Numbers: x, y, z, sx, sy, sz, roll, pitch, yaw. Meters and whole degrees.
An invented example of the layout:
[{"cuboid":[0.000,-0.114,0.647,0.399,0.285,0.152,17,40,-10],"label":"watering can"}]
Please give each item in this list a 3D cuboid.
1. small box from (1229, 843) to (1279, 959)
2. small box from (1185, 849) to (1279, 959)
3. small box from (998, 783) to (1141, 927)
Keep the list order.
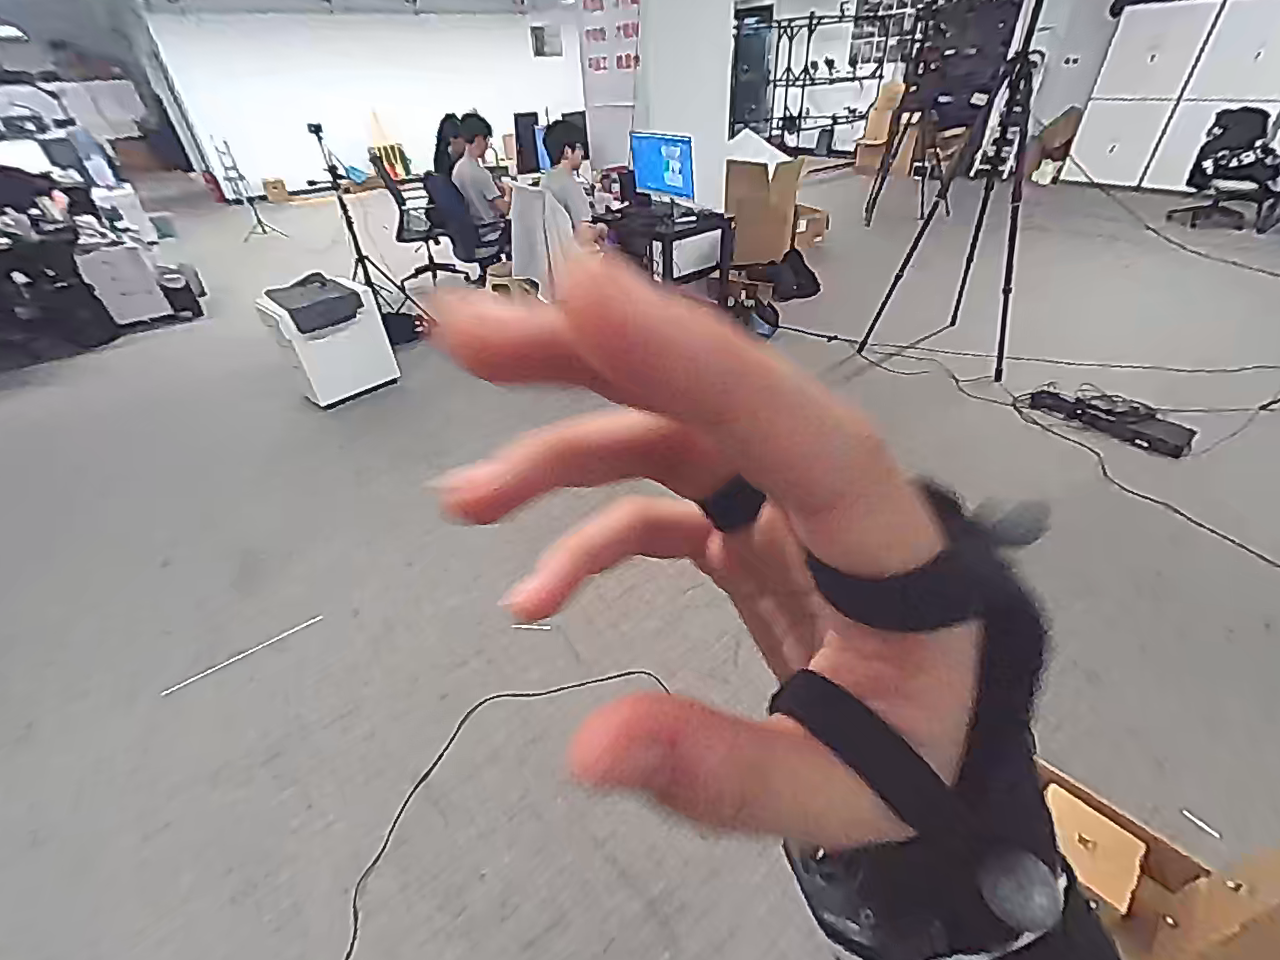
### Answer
[{"cuboid":[1.078,0.671,0.820,0.168,0.176,0.179,-27,44,-27],"label":"small box"},{"cuboid":[1.097,0.796,0.928,0.179,0.176,0.168,-31,45,-30],"label":"small box"},{"cuboid":[0.924,0.818,1.178,0.168,0.176,0.179,-33,48,-30],"label":"small box"}]
